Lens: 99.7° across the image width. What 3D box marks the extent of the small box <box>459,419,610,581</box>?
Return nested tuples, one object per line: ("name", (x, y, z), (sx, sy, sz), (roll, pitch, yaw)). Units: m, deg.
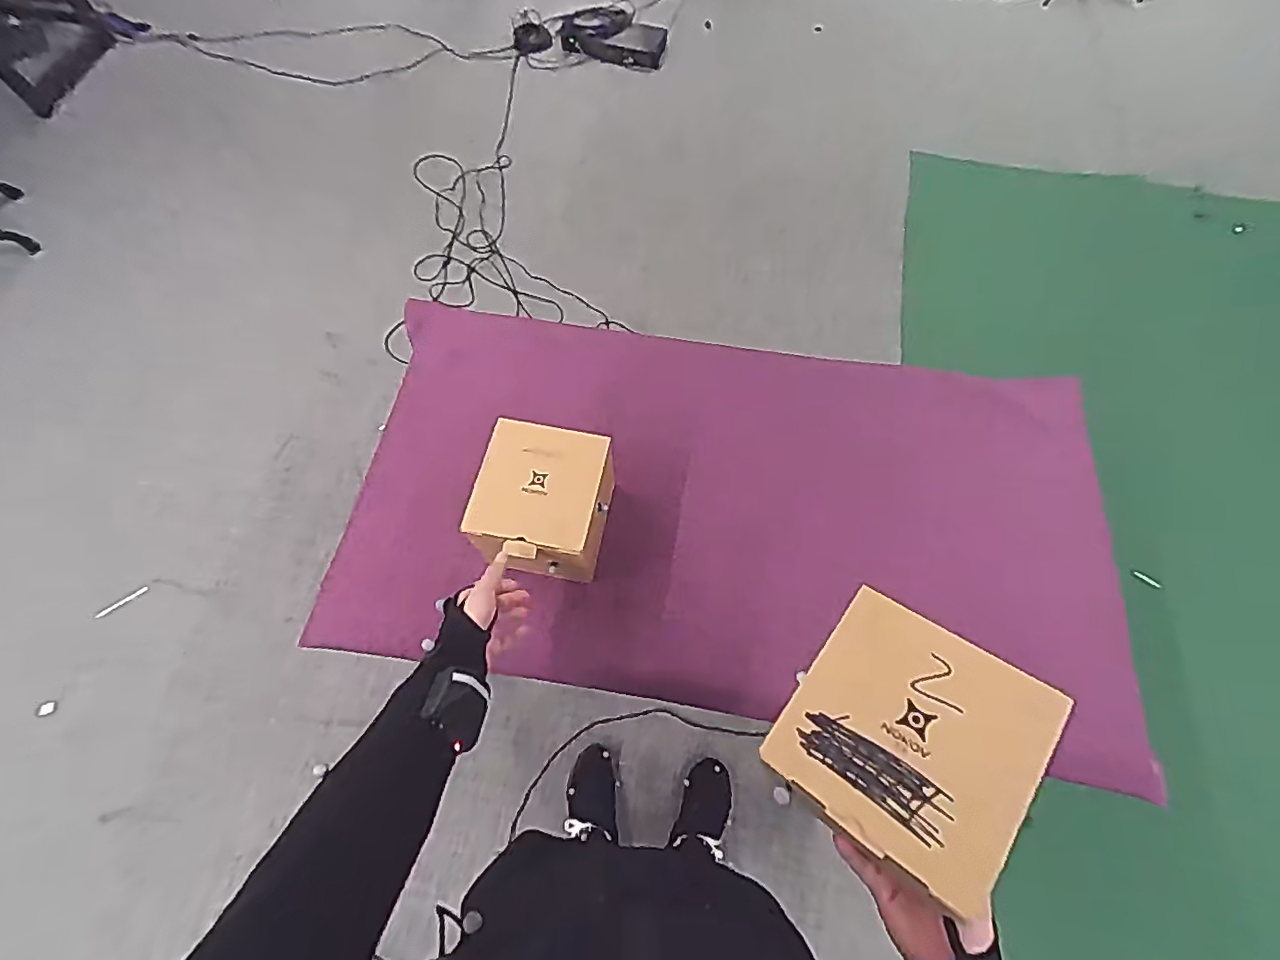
("small box", (-0.142, 0.038, 0.805), (0.168, 0.176, 0.179), (11, 66, 4))
